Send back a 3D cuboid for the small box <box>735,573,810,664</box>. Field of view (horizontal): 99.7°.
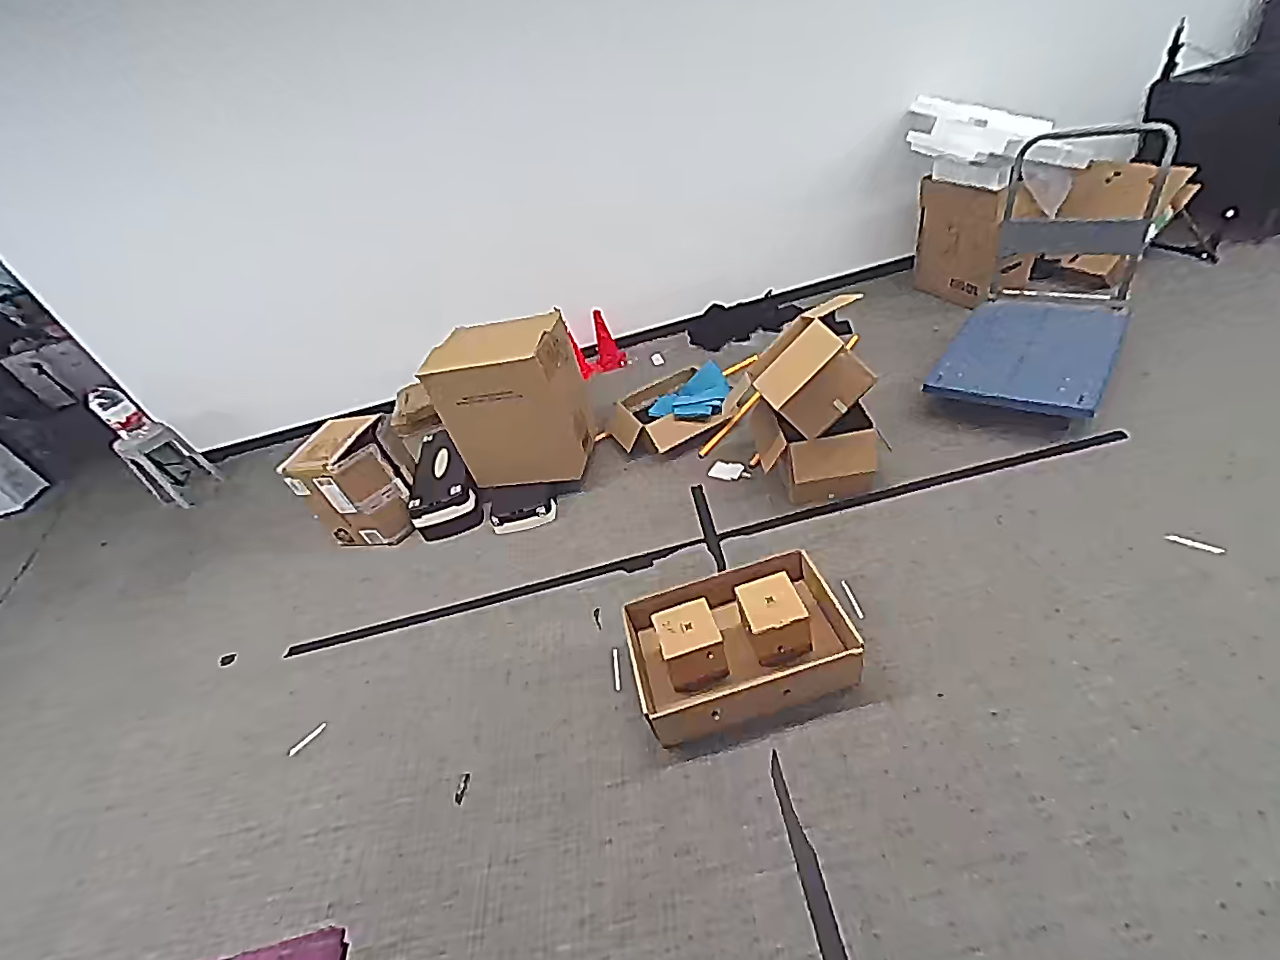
[{"bbox_3d":[0.396,0.416,1.623,0.168,0.176,0.179,-18,38,0],"label":"small box"}]

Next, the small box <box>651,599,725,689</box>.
[{"bbox_3d":[0.148,0.492,1.617,0.179,0.176,0.168,-18,37,-3],"label":"small box"}]
